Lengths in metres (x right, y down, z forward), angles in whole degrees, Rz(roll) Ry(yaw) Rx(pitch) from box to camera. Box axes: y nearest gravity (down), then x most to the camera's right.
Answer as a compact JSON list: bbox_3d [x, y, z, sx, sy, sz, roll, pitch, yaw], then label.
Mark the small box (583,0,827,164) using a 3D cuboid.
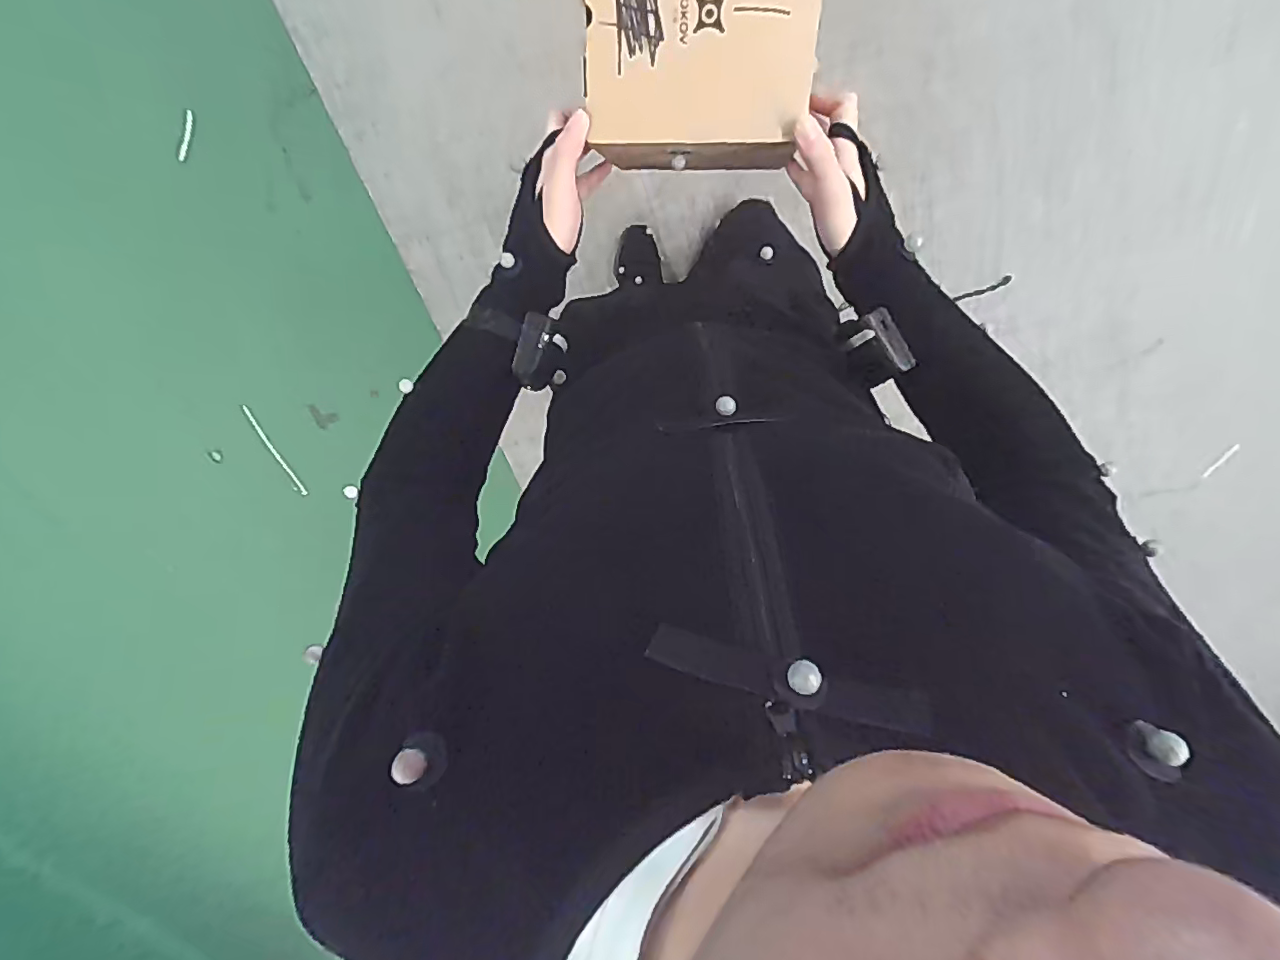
[{"bbox_3d":[0.054,-0.374,0.458,0.179,0.176,0.168,4,114,5],"label":"small box"}]
